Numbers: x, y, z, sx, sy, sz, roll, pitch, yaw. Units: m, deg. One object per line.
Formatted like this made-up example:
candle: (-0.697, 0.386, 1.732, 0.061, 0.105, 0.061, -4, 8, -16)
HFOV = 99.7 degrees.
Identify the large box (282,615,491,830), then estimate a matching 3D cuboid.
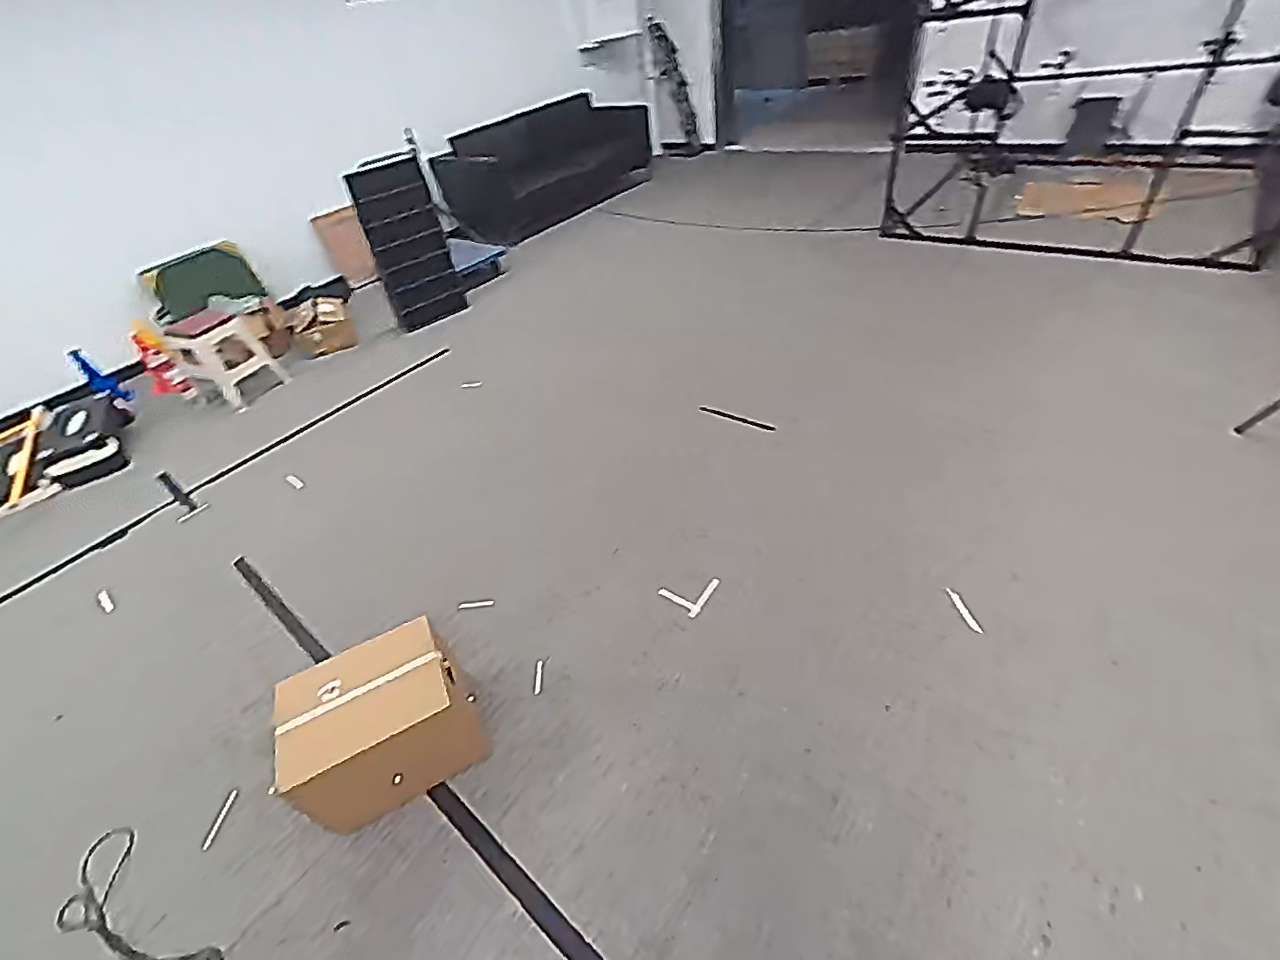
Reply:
large box: (-0.677, 0.650, 1.470, 0.408, 0.320, 0.320, -25, 43, -16)
